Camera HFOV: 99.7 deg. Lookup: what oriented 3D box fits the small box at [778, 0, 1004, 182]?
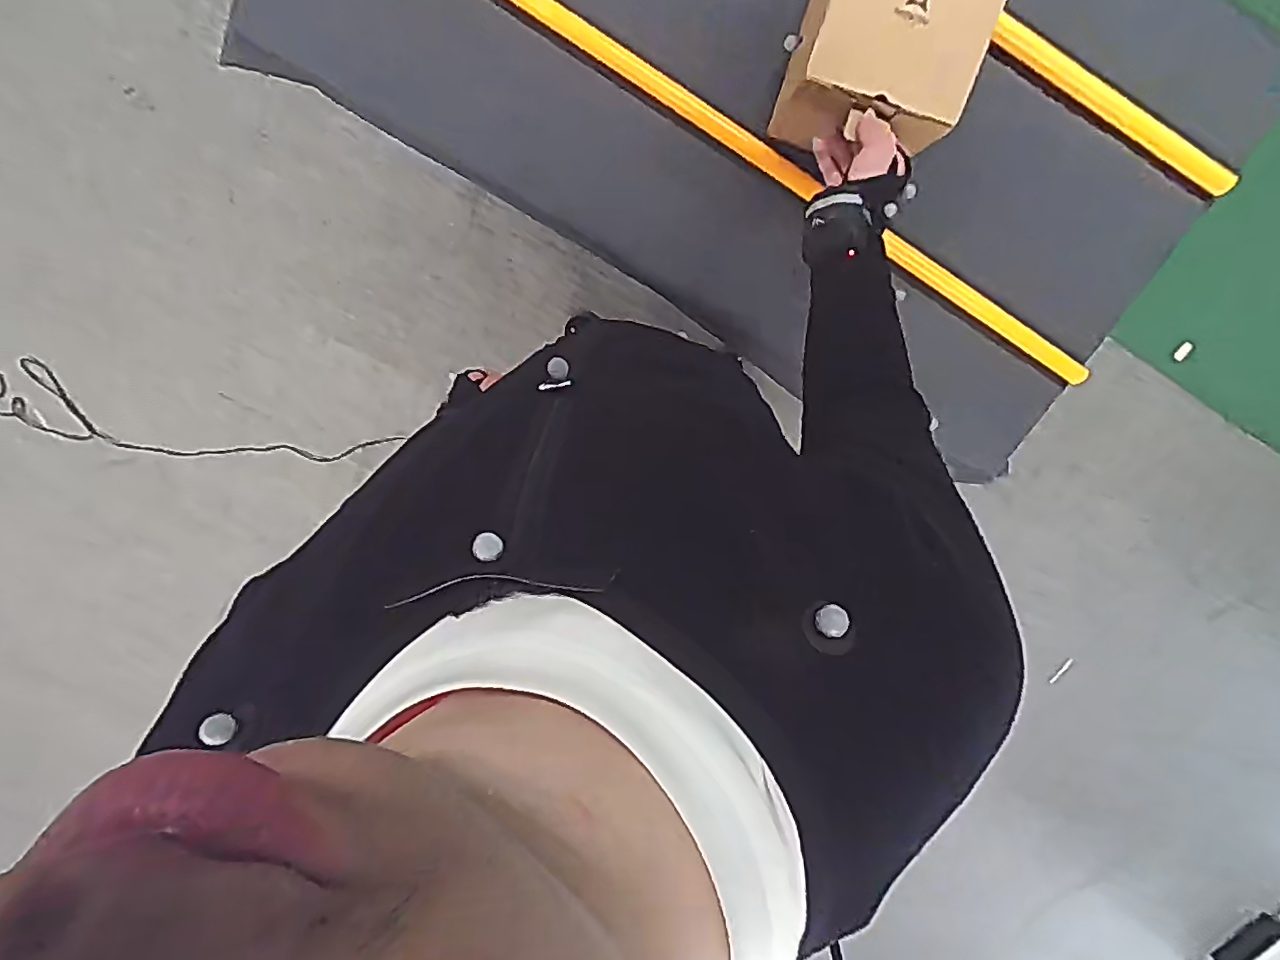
[{"bbox_3d":[0.269,-0.469,0.614,0.168,0.176,0.179,15,103,-2],"label":"small box"}]
